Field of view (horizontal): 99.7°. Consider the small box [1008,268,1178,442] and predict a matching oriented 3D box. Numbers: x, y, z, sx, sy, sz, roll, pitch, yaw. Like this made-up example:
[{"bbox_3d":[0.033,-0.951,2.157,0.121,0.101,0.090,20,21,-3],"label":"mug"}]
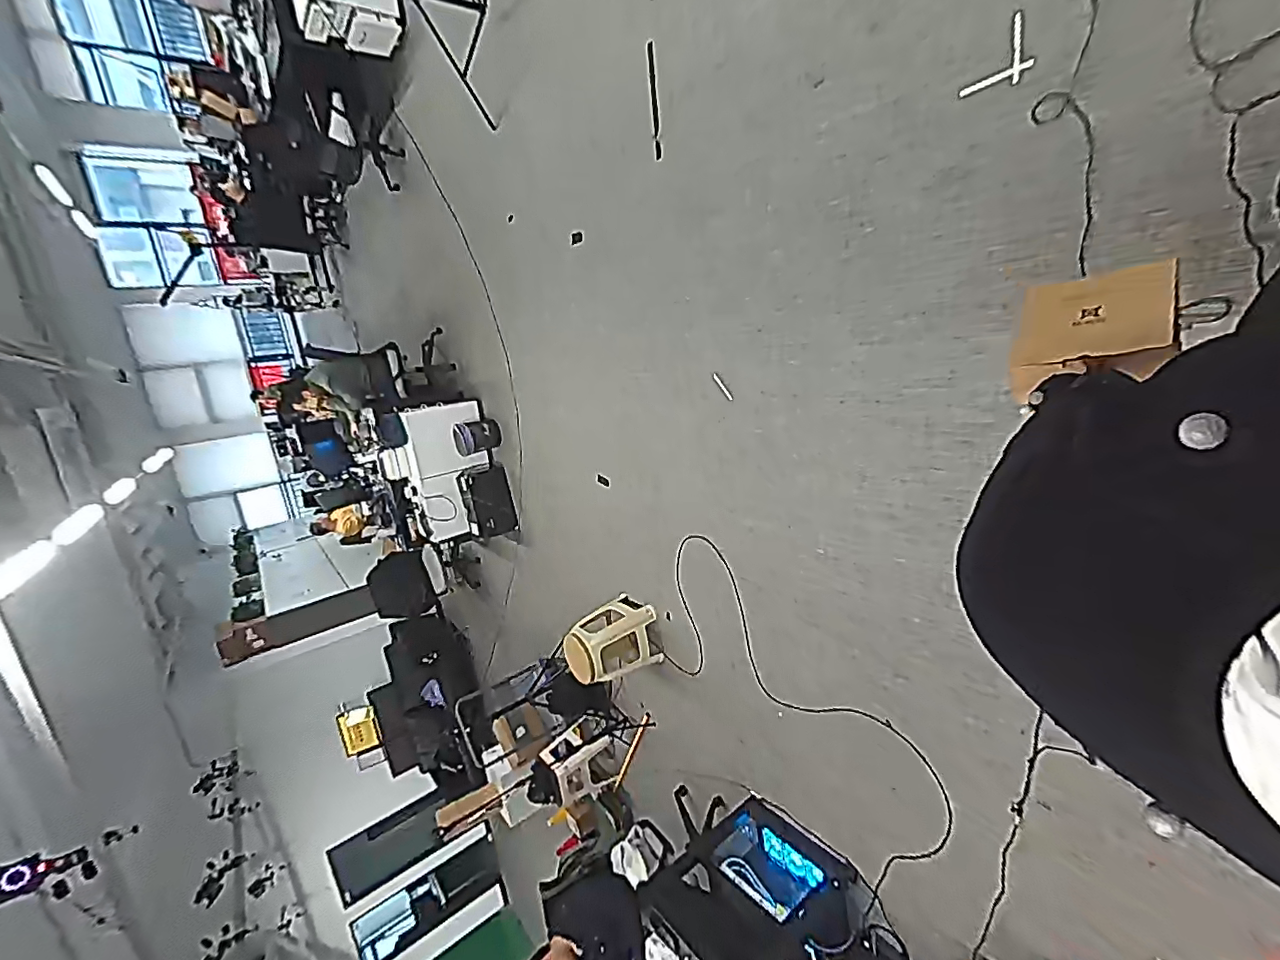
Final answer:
[{"bbox_3d":[0.662,-0.167,0.786,0.168,0.179,0.176,1,139,46],"label":"small box"}]
